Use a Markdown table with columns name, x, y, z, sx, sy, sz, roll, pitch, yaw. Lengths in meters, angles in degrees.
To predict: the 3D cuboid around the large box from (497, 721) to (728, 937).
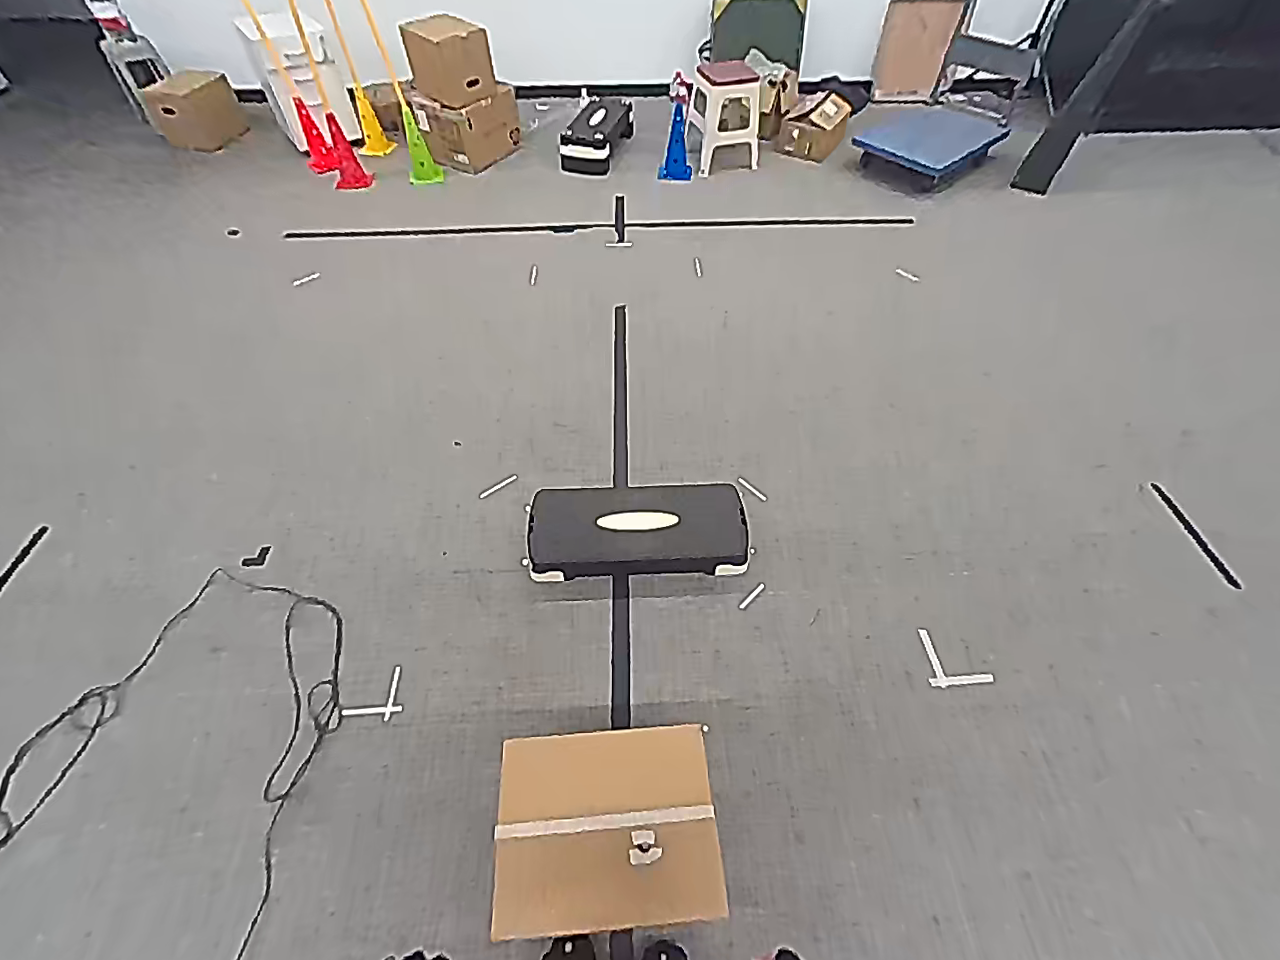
| name | x | y | z | sx | sy | sz | roll | pitch | yaw |
| --- | --- | --- | --- | --- | --- | --- | --- | --- | --- |
| large box | -0.061 | 0.723 | 1.124 | 0.408 | 0.320 | 0.320 | -3 | 52 | -4 |
